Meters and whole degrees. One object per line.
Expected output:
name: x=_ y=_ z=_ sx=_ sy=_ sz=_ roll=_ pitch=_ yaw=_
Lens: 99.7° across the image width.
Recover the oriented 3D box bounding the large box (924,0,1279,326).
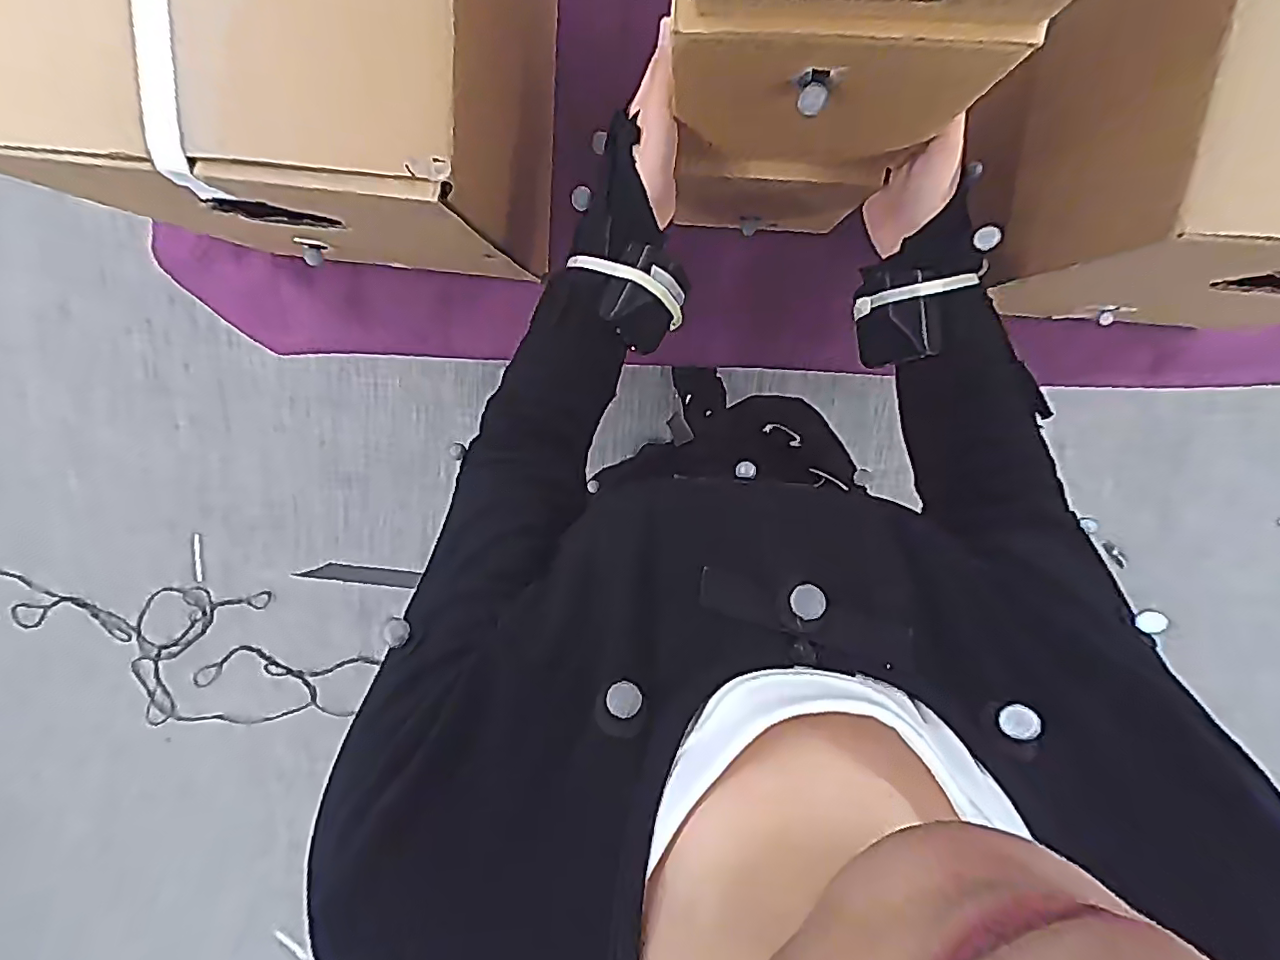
large box: x=0.458 y=-0.340 z=0.403 sx=0.320 sy=0.320 sz=0.408 roll=5 pitch=100 yaw=1

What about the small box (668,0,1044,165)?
small box: x=0.112 y=-0.305 z=0.319 sx=0.179 sy=0.176 sz=0.168 roll=5 pitch=103 yaw=4
